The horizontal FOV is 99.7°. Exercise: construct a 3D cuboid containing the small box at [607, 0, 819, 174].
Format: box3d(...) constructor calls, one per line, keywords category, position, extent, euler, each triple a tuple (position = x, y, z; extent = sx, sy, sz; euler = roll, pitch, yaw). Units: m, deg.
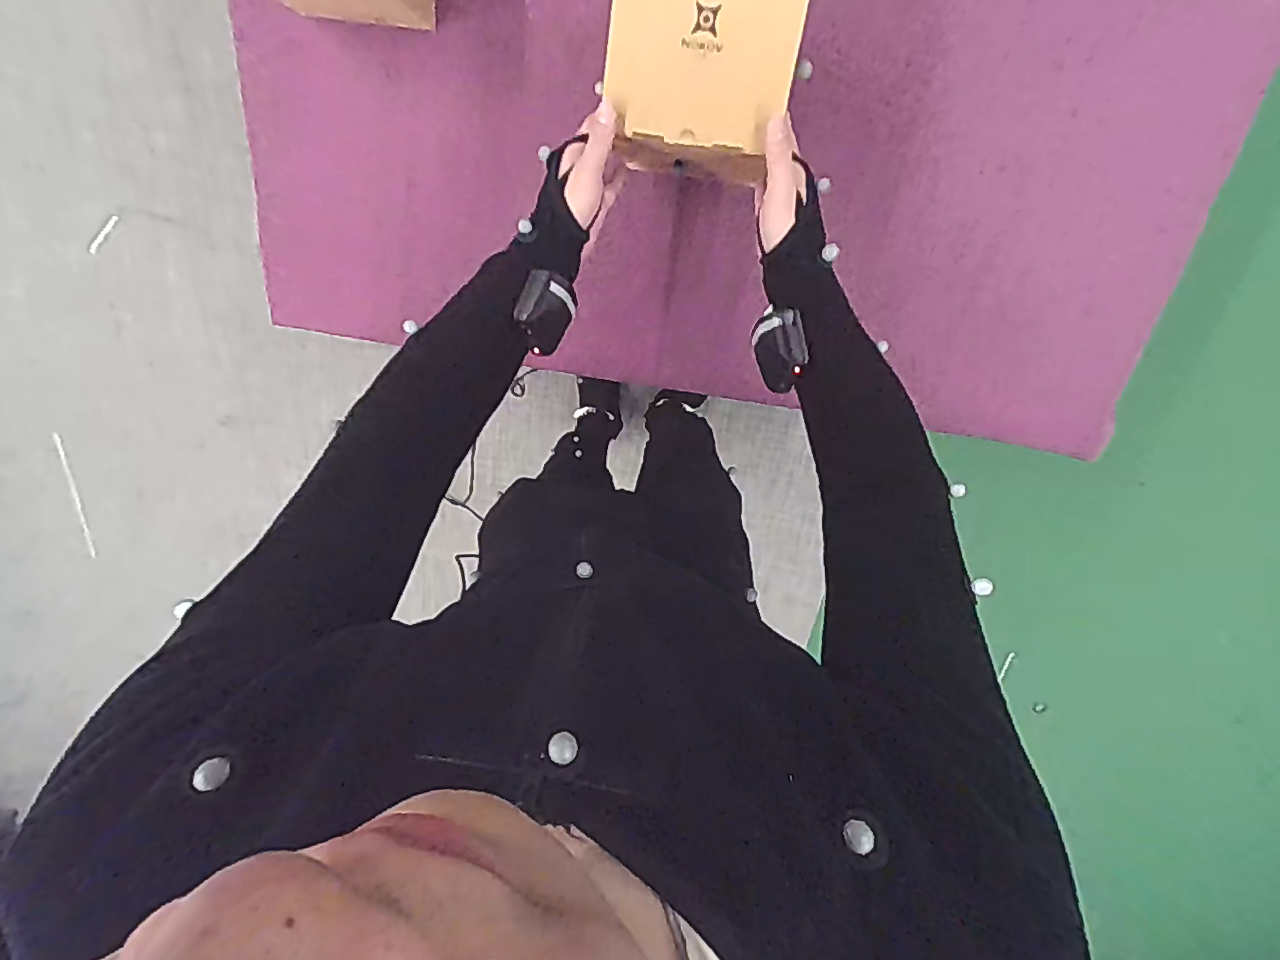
box3d(category="small box", position=(0.070, -0.417, 0.523), extent=(0.168, 0.176, 0.179), euler=(10, 113, 3))
